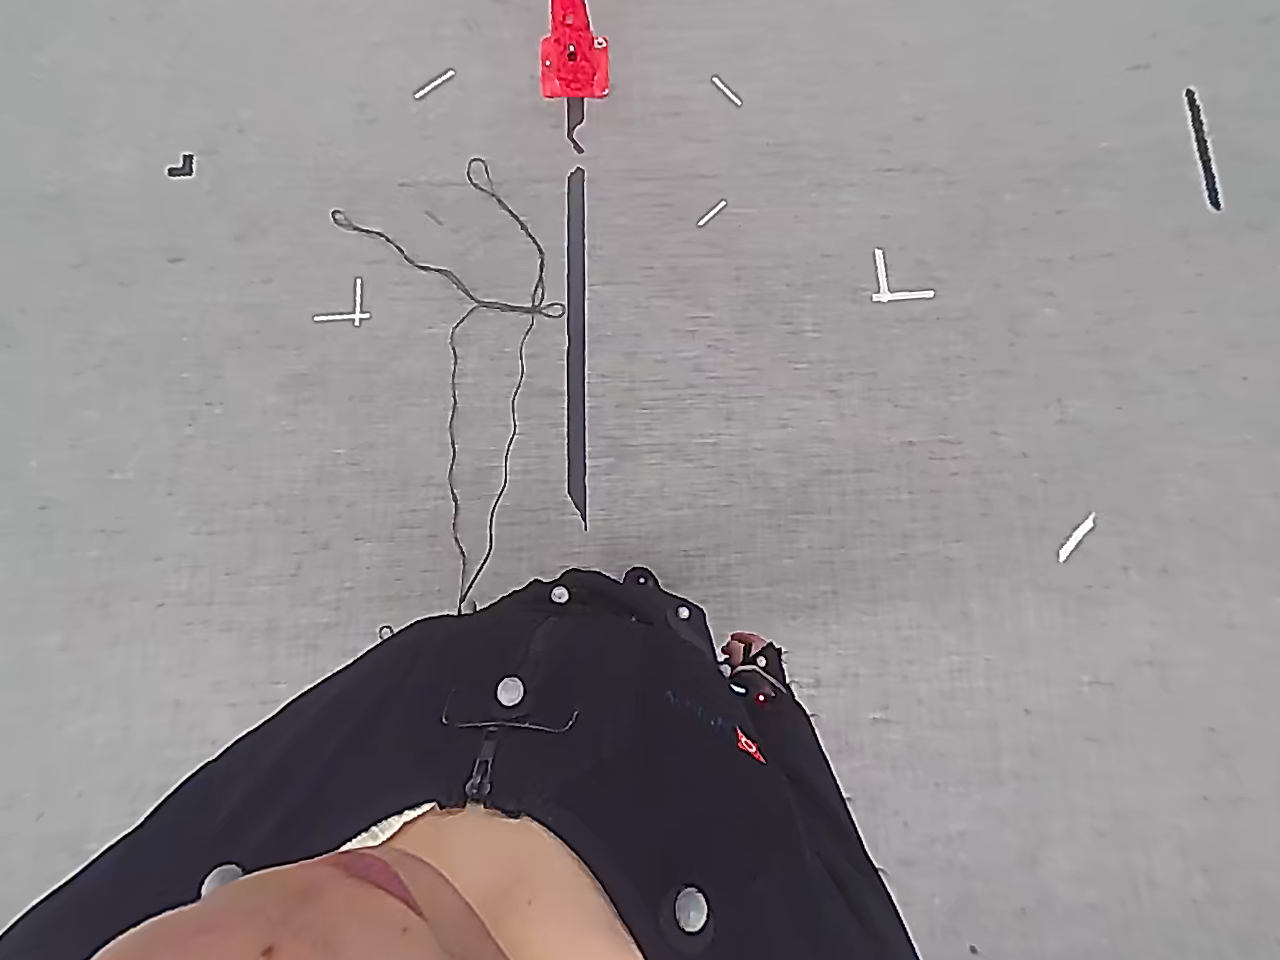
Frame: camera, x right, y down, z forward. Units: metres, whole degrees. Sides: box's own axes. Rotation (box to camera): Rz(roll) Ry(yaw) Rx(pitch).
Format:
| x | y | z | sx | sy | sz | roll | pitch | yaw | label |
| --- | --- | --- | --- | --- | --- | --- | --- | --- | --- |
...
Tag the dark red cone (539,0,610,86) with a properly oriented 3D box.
| x | y | z | sx | sy | sz | roll | pitch | yaw | label |
| --- | --- | --- | --- | --- | --- | --- | --- | --- | --- |
| -0.189 | -1.252 | 1.393 | 0.201 | 0.394 | 0.202 | -2 | 83 | 0 | dark red cone |
